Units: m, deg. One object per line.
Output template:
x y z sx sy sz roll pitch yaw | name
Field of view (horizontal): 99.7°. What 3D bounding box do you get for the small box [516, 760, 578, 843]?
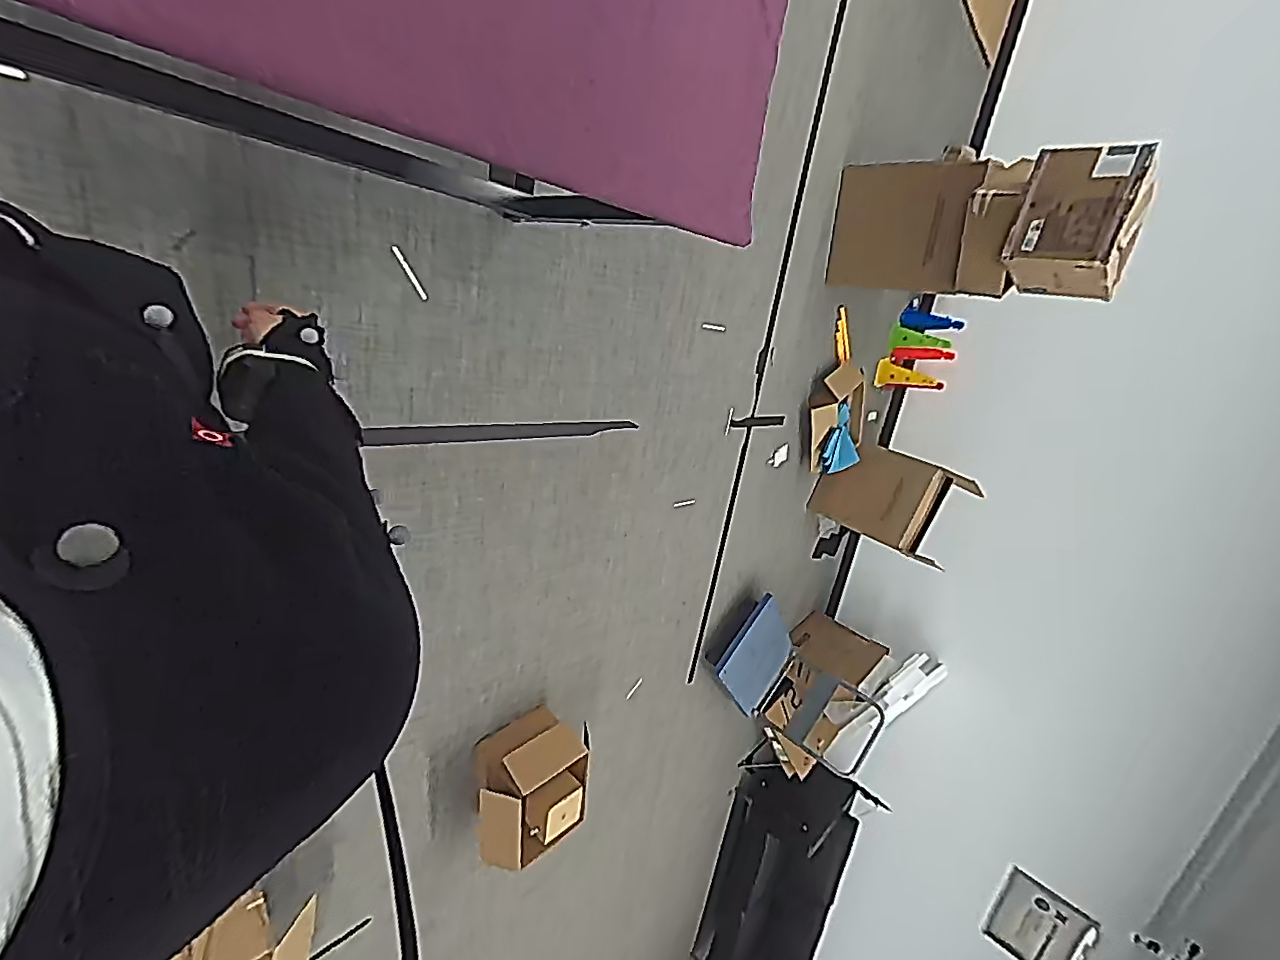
-0.359 1.221 2.064 0.168 0.176 0.179 -12 117 -46 | small box
